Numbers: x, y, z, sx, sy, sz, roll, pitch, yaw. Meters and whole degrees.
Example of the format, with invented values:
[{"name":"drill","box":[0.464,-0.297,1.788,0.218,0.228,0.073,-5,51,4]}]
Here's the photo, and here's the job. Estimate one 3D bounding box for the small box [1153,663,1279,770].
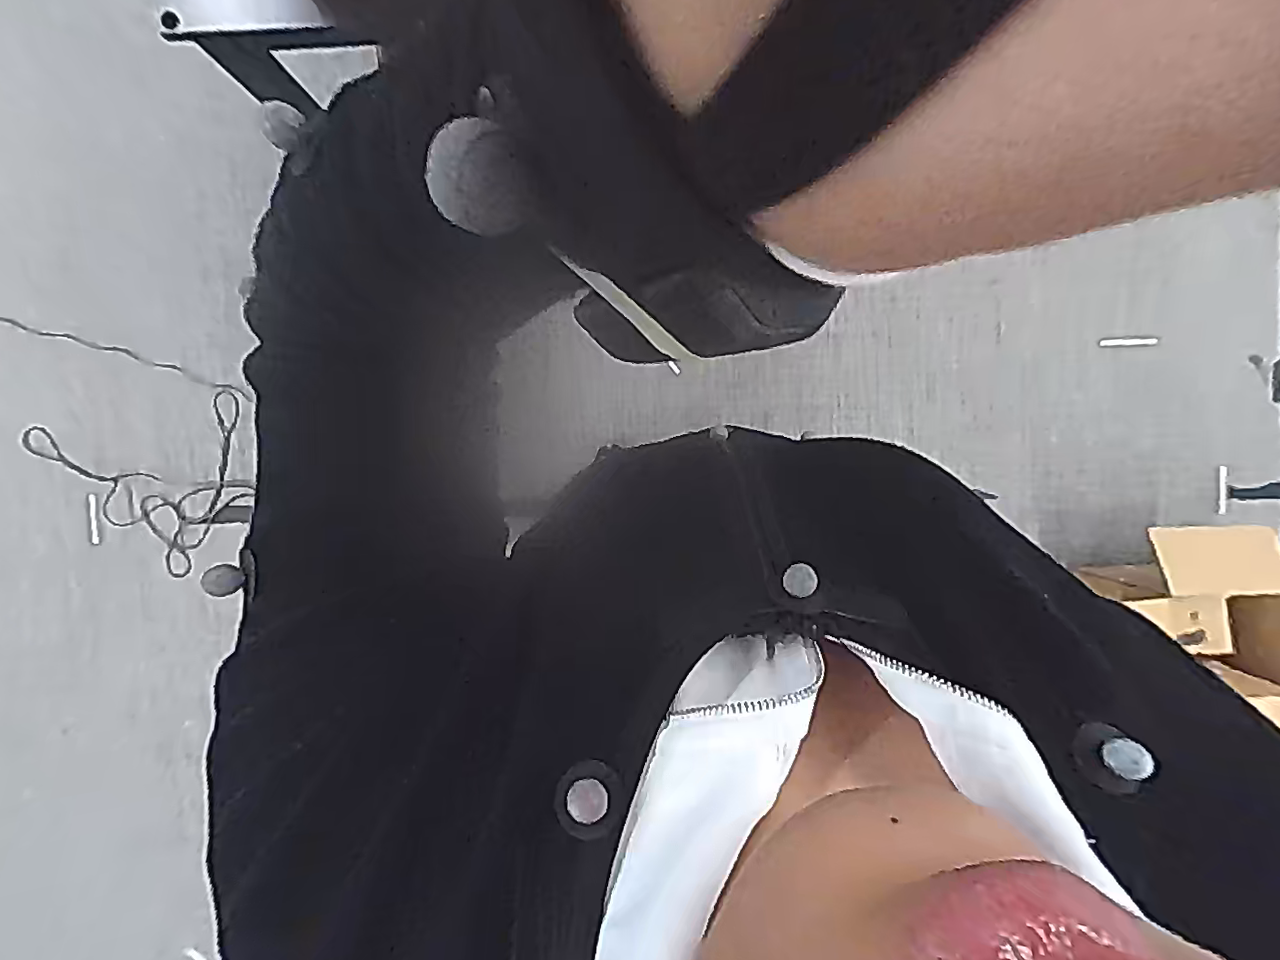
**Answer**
[{"name":"small box","box":[1.360,0.547,1.265,0.168,0.176,0.179,0,94,-1]}]
